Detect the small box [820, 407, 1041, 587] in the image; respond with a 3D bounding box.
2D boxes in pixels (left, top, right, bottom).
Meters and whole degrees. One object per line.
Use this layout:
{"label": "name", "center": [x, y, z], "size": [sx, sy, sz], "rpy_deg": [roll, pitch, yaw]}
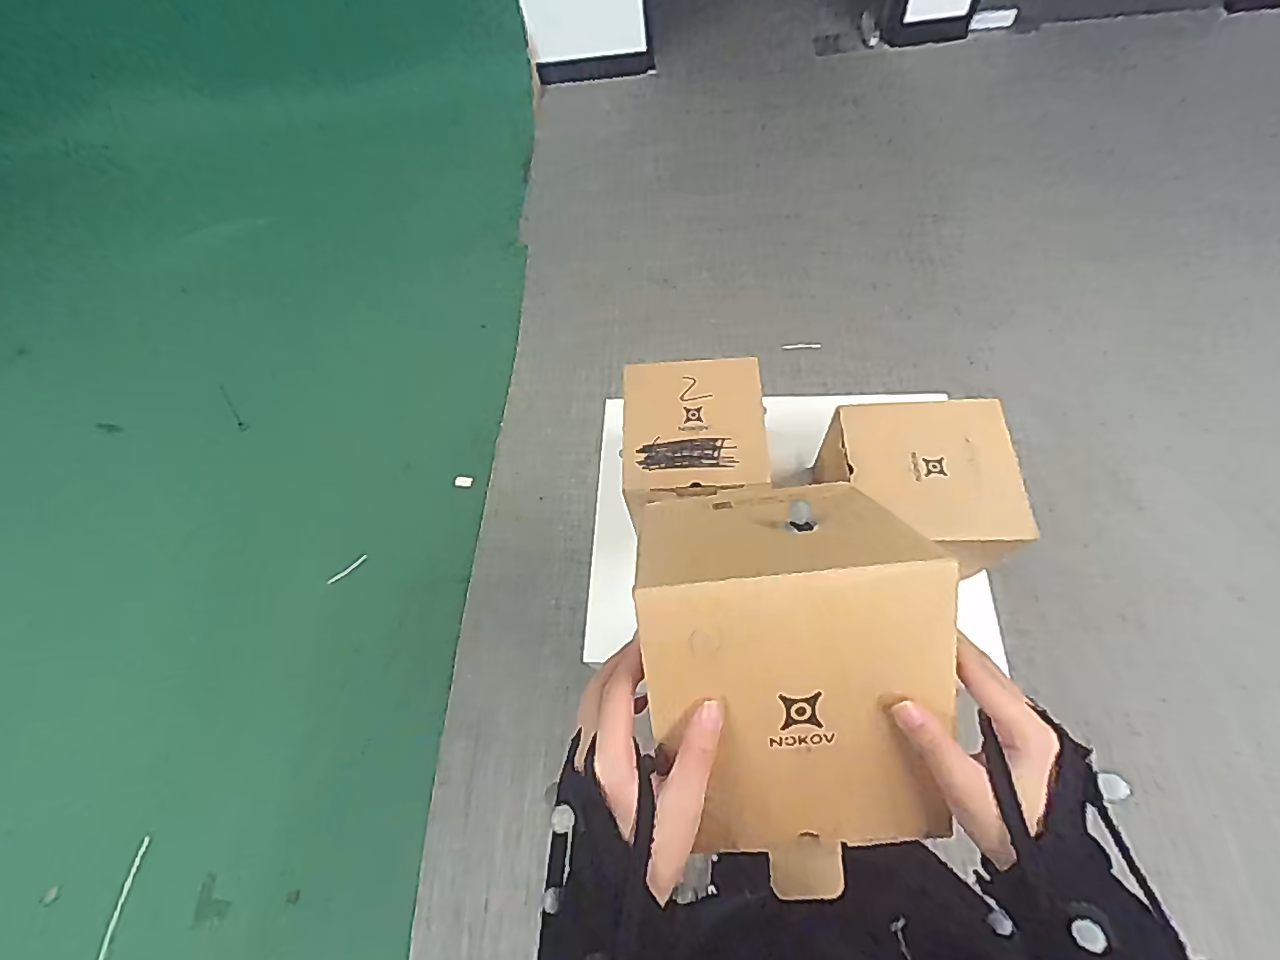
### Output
{"label": "small box", "center": [0.320, 0.028, 0.645], "size": [0.179, 0.176, 0.168], "rpy_deg": [-1, 66, 6]}
